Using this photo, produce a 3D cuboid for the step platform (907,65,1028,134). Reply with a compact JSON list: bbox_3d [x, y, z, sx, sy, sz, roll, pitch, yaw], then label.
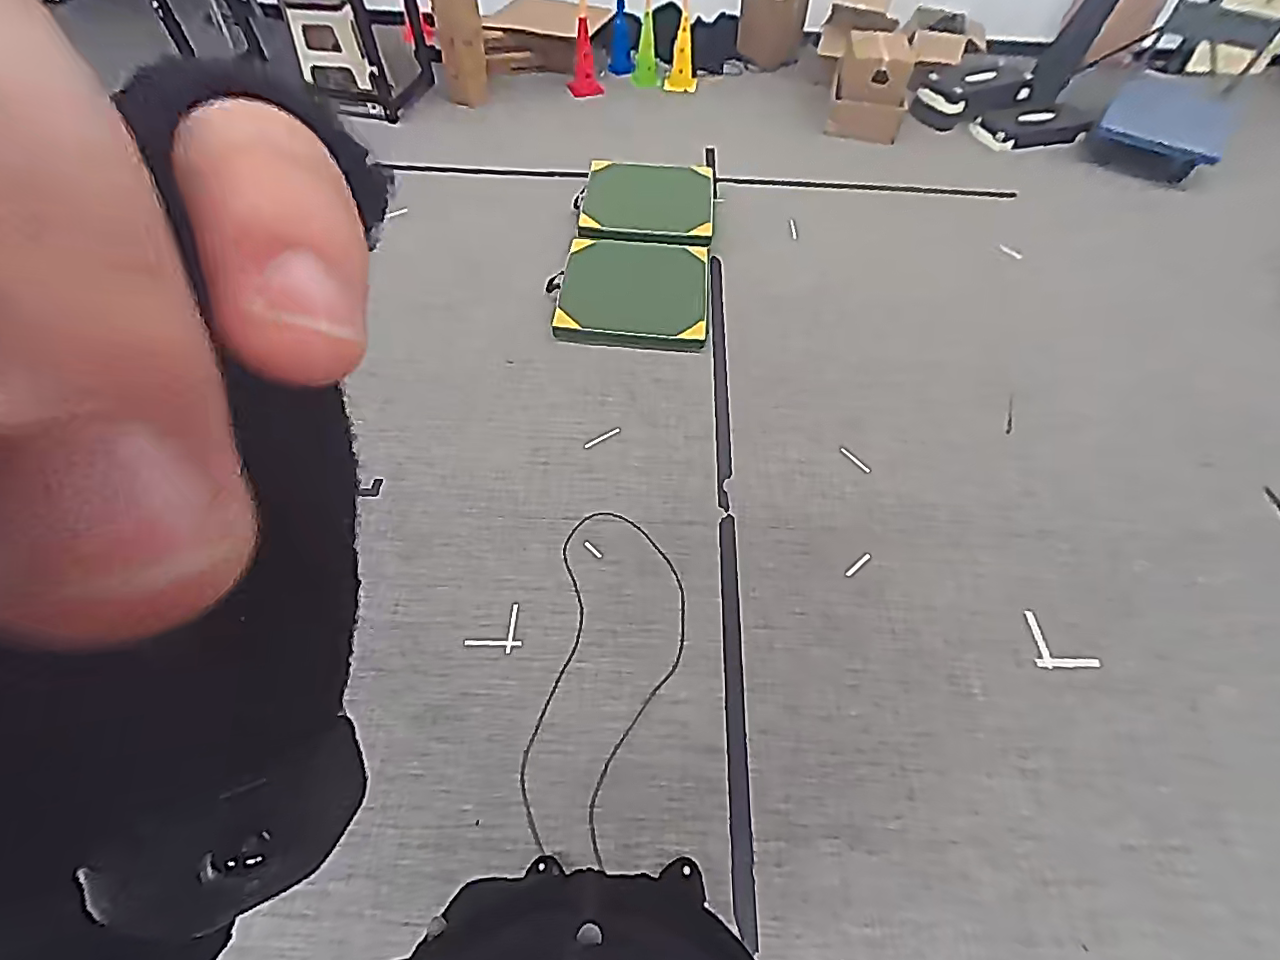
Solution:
[{"bbox_3d":[1.984,-2.306,3.268,0.684,0.204,0.286,-22,60,-15],"label":"step platform"}]
